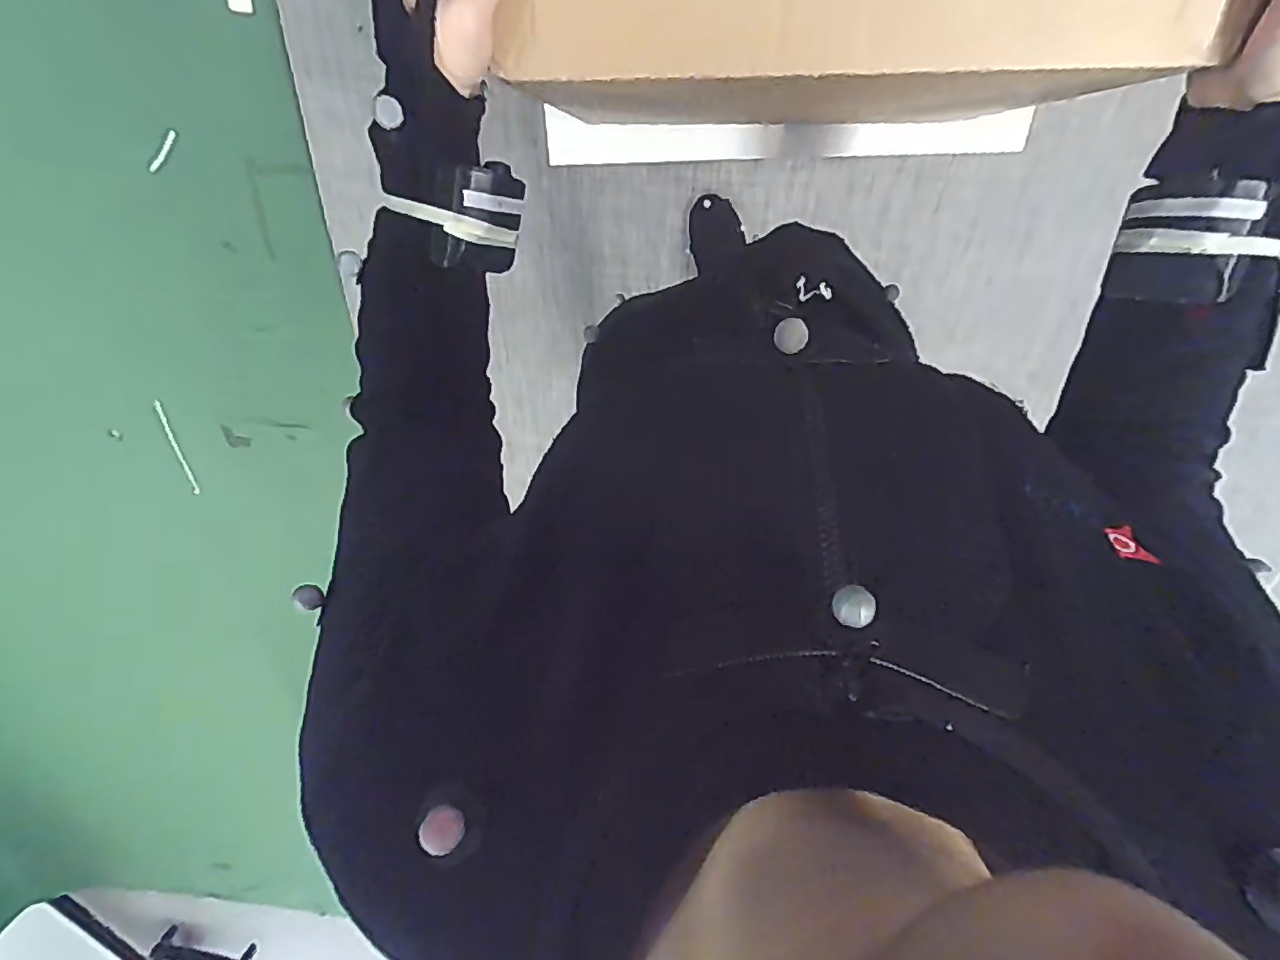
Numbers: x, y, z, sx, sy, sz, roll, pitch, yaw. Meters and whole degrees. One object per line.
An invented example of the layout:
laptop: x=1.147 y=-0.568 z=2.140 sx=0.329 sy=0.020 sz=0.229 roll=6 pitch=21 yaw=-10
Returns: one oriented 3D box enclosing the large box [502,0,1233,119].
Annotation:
large box: x=0.123 y=-0.448 z=0.365 sx=0.408 sy=0.320 sz=0.320 roll=1 pitch=120 yaw=4
